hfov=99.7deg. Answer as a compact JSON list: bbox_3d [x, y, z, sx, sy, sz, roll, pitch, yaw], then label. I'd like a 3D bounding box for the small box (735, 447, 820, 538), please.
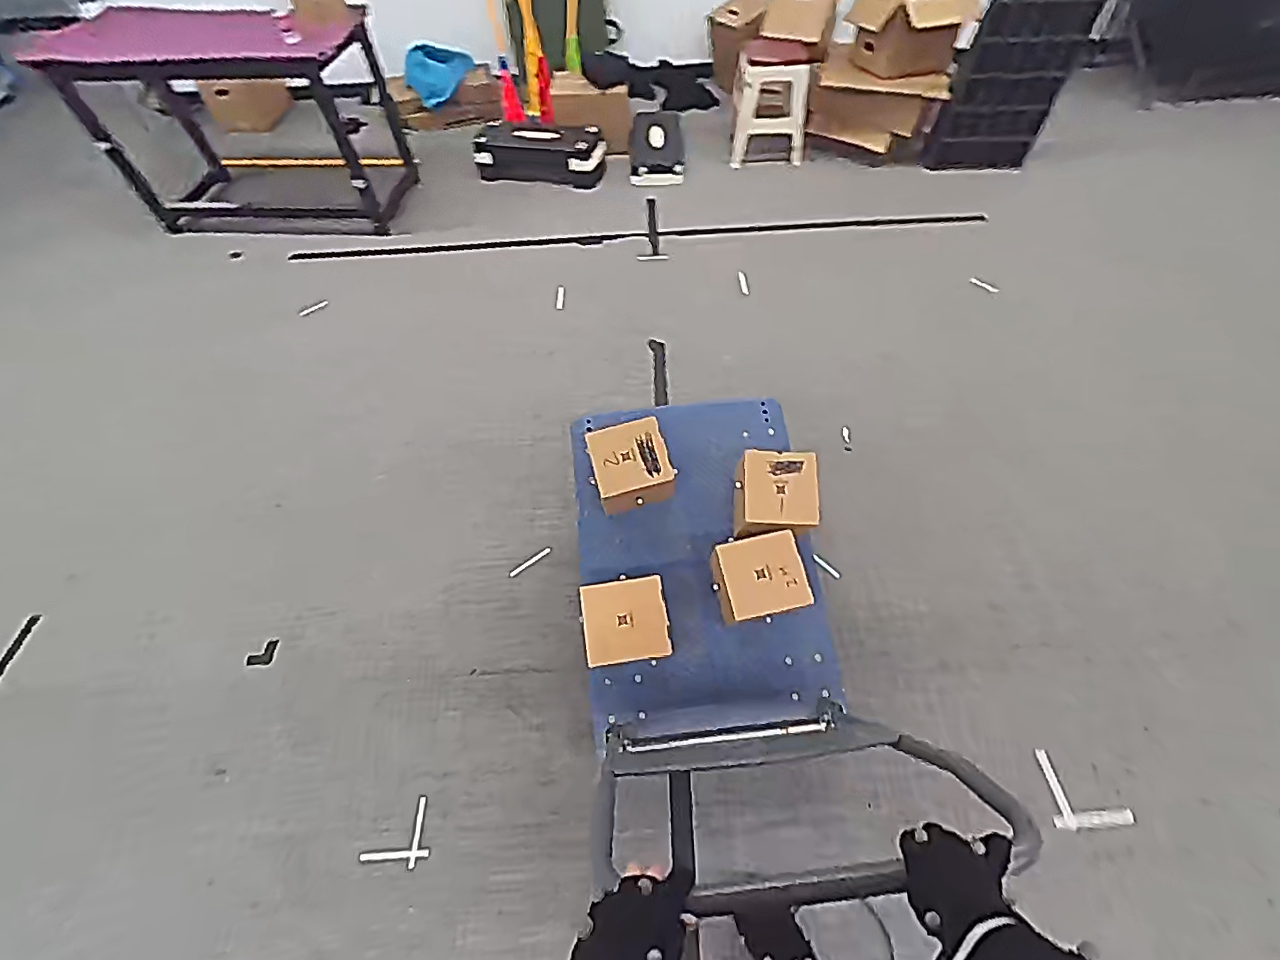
[{"bbox_3d":[0.321,0.036,1.294,0.168,0.176,0.179,2,72,2],"label":"small box"}]

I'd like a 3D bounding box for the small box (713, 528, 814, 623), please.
[{"bbox_3d":[0.269,0.223,1.230,0.179,0.176,0.168,-12,71,-3],"label":"small box"}]

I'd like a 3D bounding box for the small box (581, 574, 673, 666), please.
[{"bbox_3d":[-0.028,0.317,1.204,0.179,0.176,0.168,-8,71,-4],"label":"small box"}]
